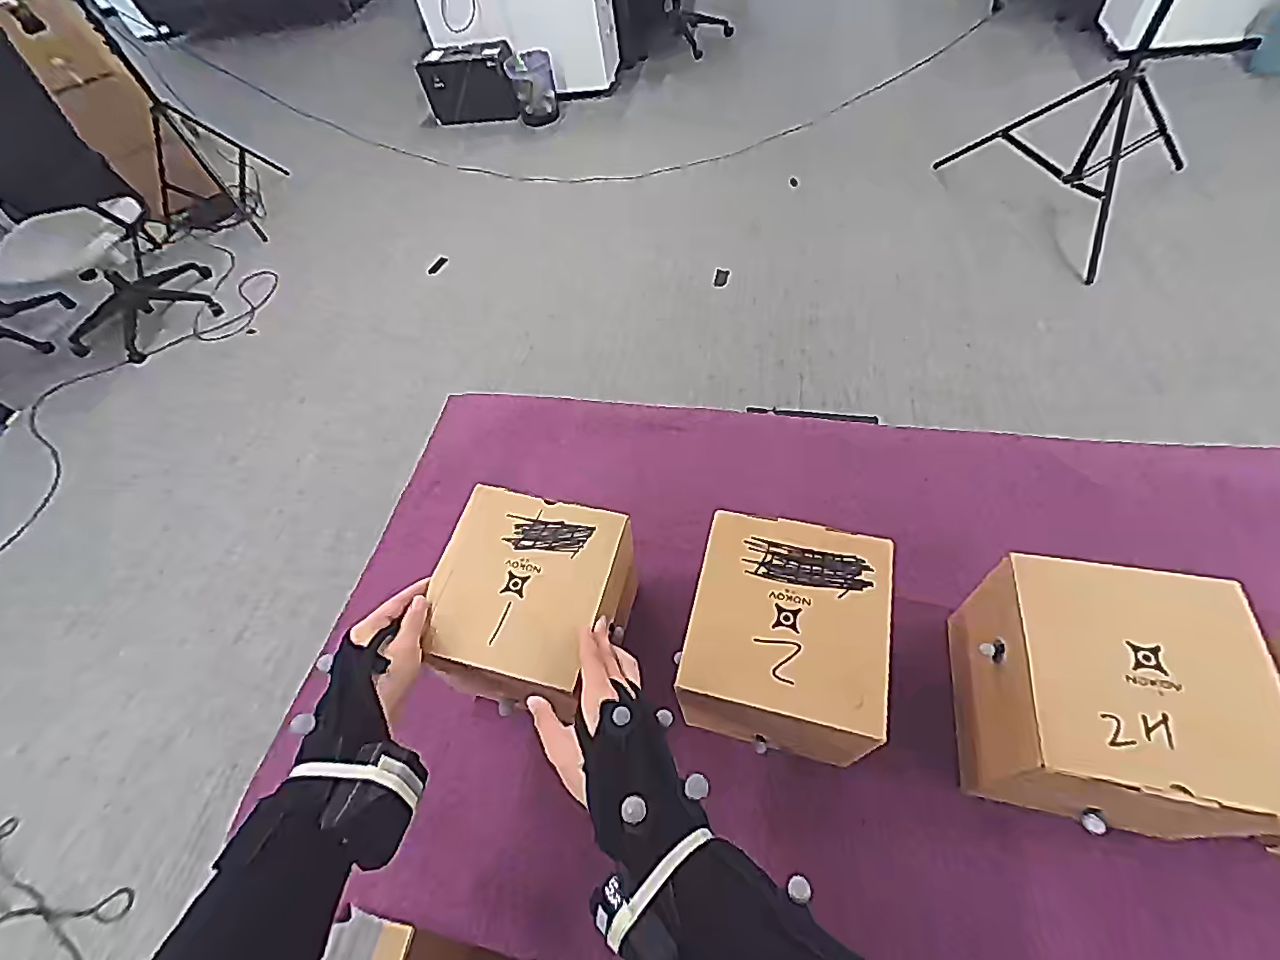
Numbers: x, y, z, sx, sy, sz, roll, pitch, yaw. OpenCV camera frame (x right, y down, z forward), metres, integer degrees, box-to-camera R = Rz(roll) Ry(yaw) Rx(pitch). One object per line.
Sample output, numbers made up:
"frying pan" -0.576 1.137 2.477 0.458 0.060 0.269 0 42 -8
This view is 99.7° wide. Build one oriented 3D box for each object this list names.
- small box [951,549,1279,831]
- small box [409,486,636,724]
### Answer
"small box" 0.393 0.185 0.475 0.168 0.176 0.179 7 57 14
"small box" -0.103 0.136 0.574 0.168 0.176 0.179 11 58 11
